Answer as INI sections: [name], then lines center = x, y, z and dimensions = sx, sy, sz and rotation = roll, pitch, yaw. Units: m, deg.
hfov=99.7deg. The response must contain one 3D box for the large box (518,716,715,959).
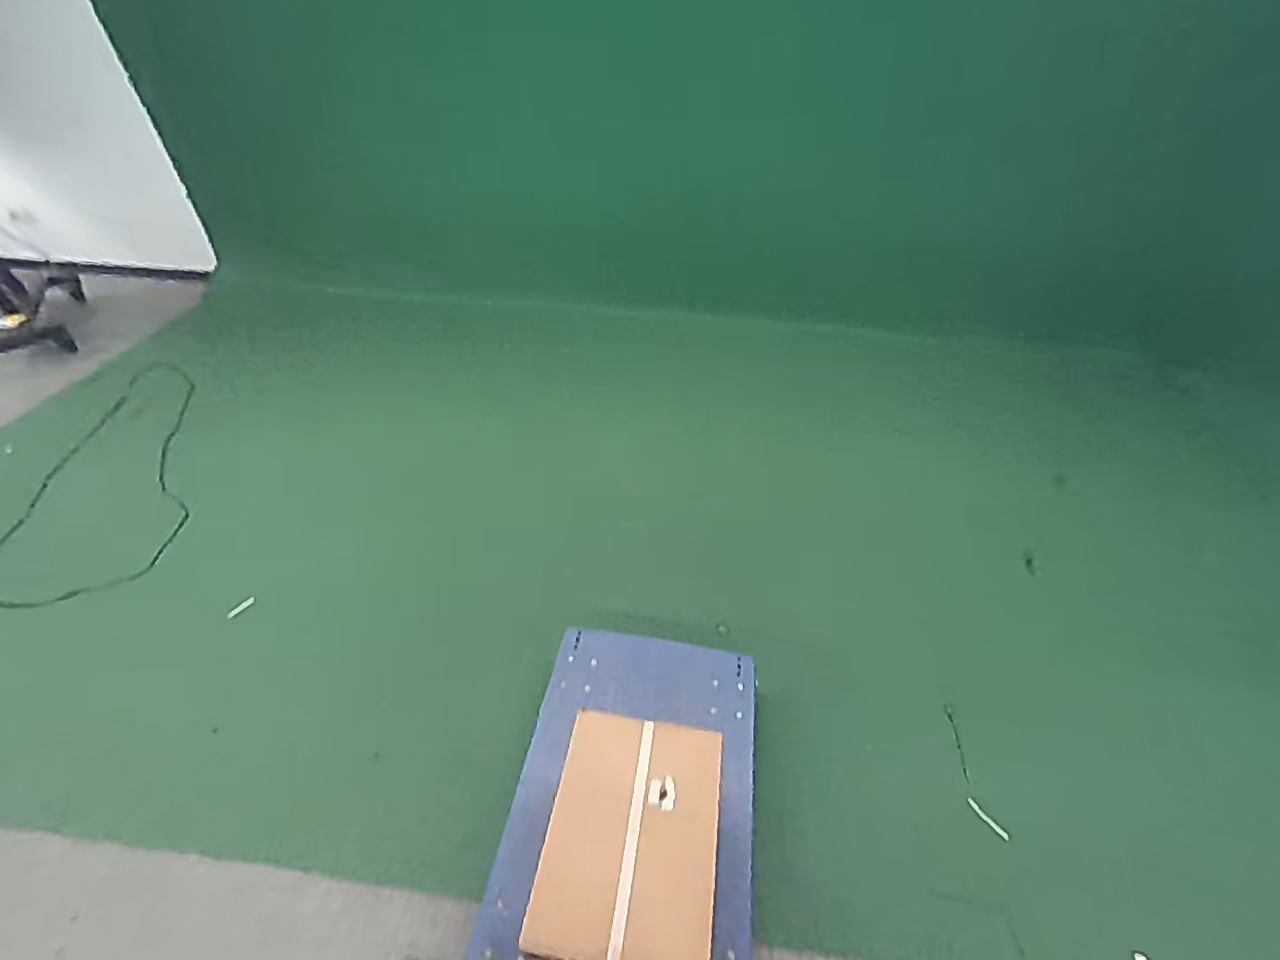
[large box]
center = -0.025, 0.766, 1.103
dimensions = 0.320, 0.320, 0.408
rotation = 8, 42, 5
